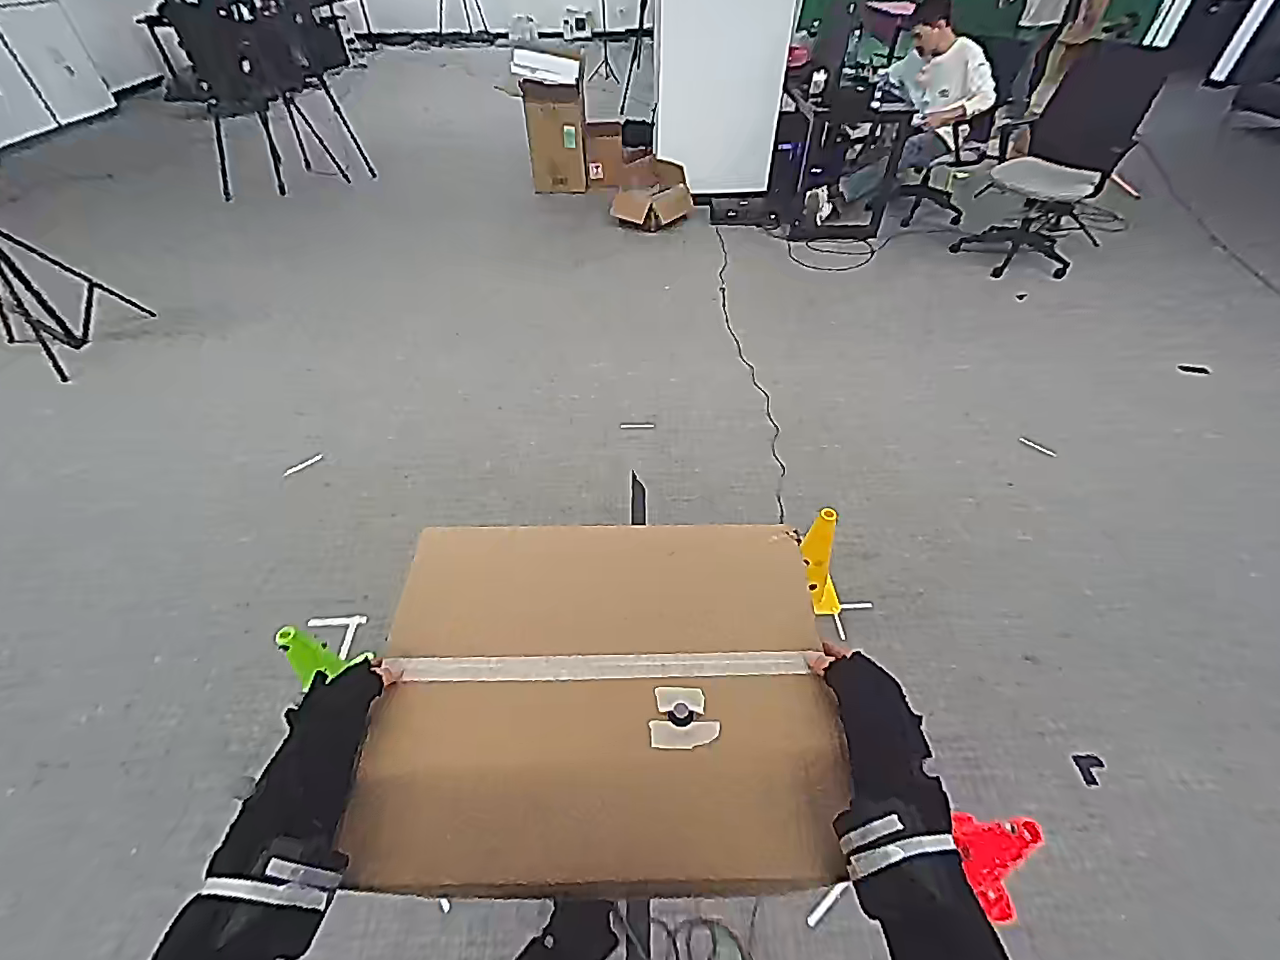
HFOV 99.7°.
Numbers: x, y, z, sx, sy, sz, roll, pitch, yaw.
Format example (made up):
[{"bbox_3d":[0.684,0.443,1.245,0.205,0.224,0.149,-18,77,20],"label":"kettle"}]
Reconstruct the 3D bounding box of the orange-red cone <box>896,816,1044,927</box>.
[{"bbox_3d":[0.688,0.736,1.074,0.198,0.360,0.199,-2,44,-3],"label":"orange-red cone"}]

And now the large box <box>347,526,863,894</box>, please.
[{"bbox_3d":[-0.031,0.265,0.618,0.408,0.320,0.320,0,51,-1],"label":"large box"}]

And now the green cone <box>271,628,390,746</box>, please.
[{"bbox_3d":[-0.801,0.468,1.347,0.202,0.368,0.200,-31,52,-24],"label":"green cone"}]
